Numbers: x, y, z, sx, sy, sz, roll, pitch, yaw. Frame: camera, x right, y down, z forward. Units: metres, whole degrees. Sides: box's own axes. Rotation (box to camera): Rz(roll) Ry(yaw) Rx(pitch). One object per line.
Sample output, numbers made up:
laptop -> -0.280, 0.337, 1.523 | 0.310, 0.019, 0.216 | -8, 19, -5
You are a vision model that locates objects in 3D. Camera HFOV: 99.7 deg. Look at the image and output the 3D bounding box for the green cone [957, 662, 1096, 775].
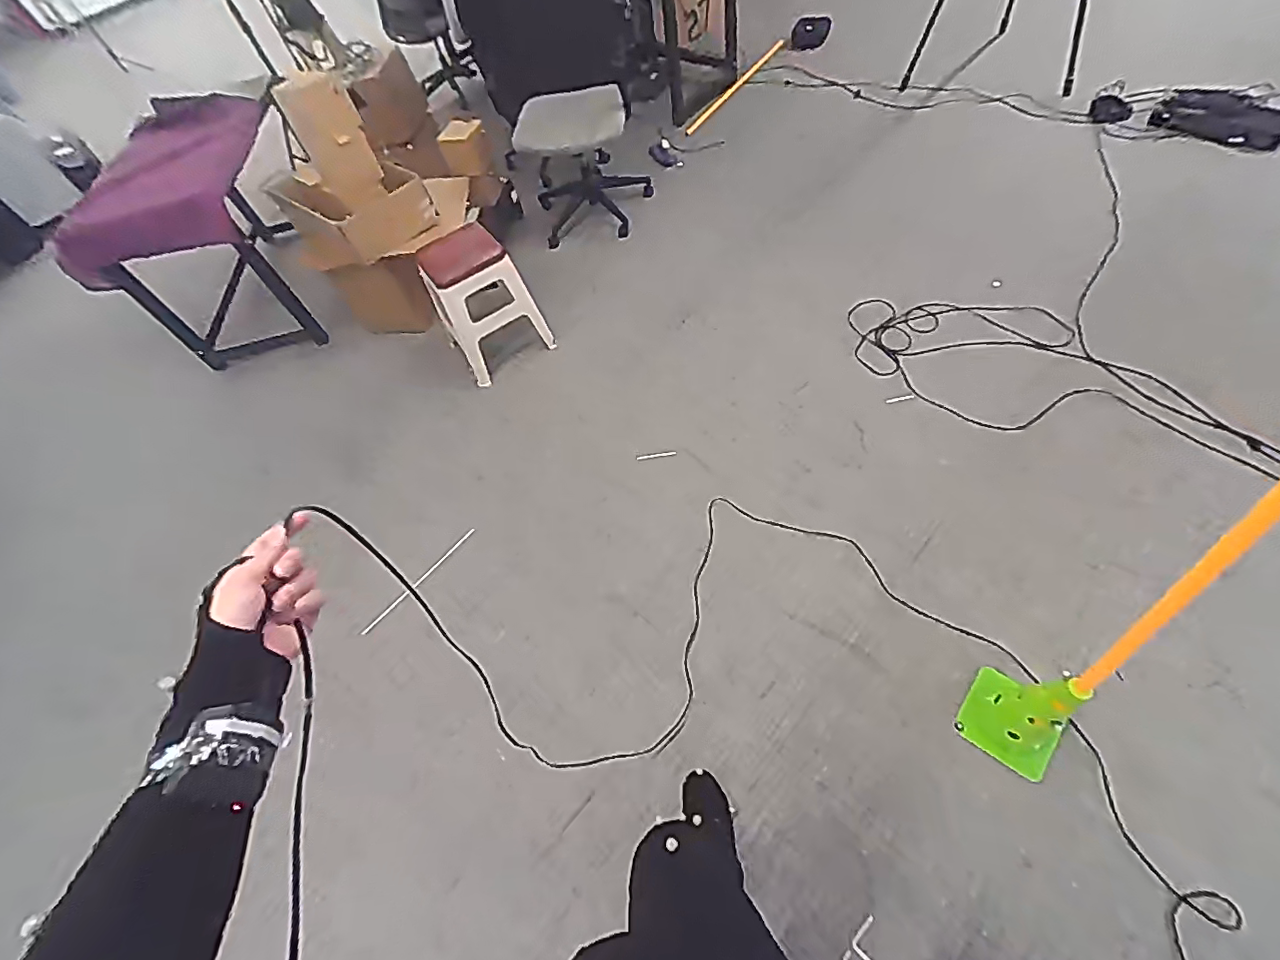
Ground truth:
green cone -> 0.882, 0.482, 1.181 | 0.200, 0.368, 0.202 | 31, 67, 27
